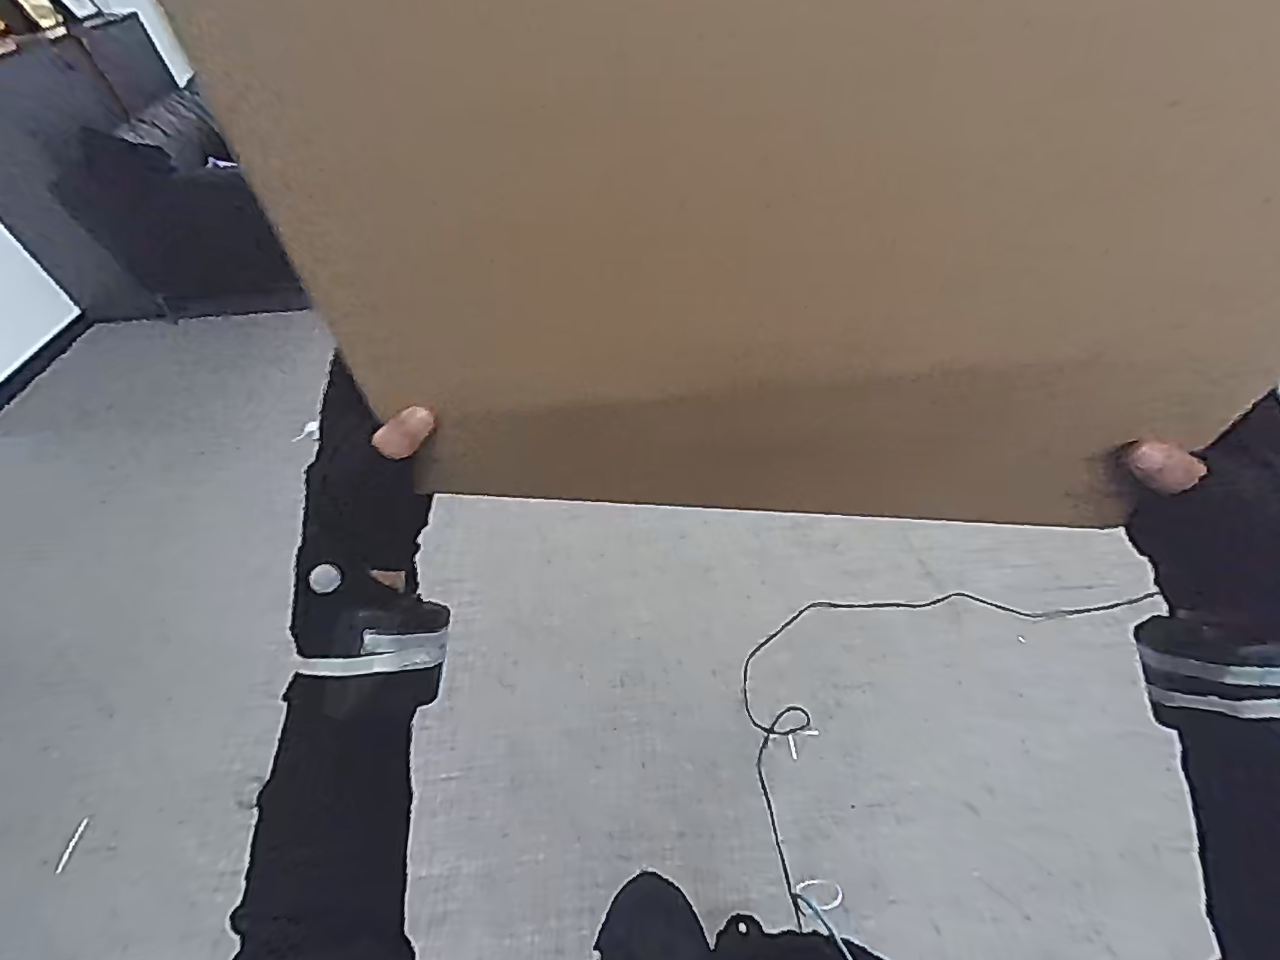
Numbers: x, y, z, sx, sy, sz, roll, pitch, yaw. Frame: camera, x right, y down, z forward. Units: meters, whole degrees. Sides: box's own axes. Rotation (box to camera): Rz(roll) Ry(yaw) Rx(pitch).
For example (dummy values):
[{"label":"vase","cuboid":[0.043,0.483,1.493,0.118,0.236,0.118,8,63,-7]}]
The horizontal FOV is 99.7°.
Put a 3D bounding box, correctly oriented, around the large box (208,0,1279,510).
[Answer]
[{"label":"large box","cuboid":[0.074,-0.197,0.302,0.408,0.320,0.320,3,50,2]}]
